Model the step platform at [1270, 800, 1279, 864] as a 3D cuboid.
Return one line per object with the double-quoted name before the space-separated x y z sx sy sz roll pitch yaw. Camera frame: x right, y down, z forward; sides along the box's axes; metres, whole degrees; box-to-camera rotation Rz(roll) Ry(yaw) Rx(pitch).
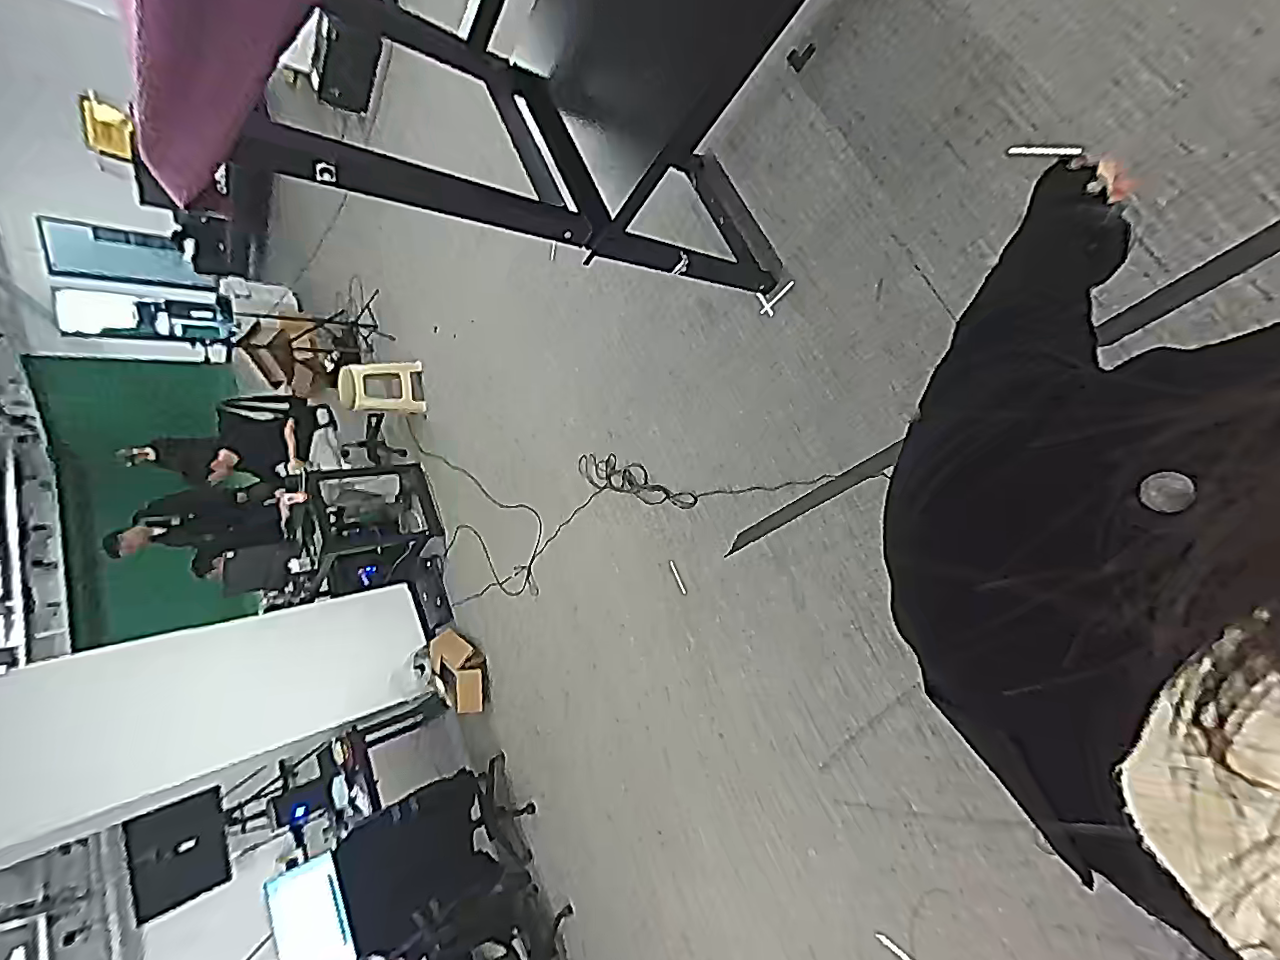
"step platform" 1.370 0.622 0.715 0.684 0.204 0.286 -32 72 43
